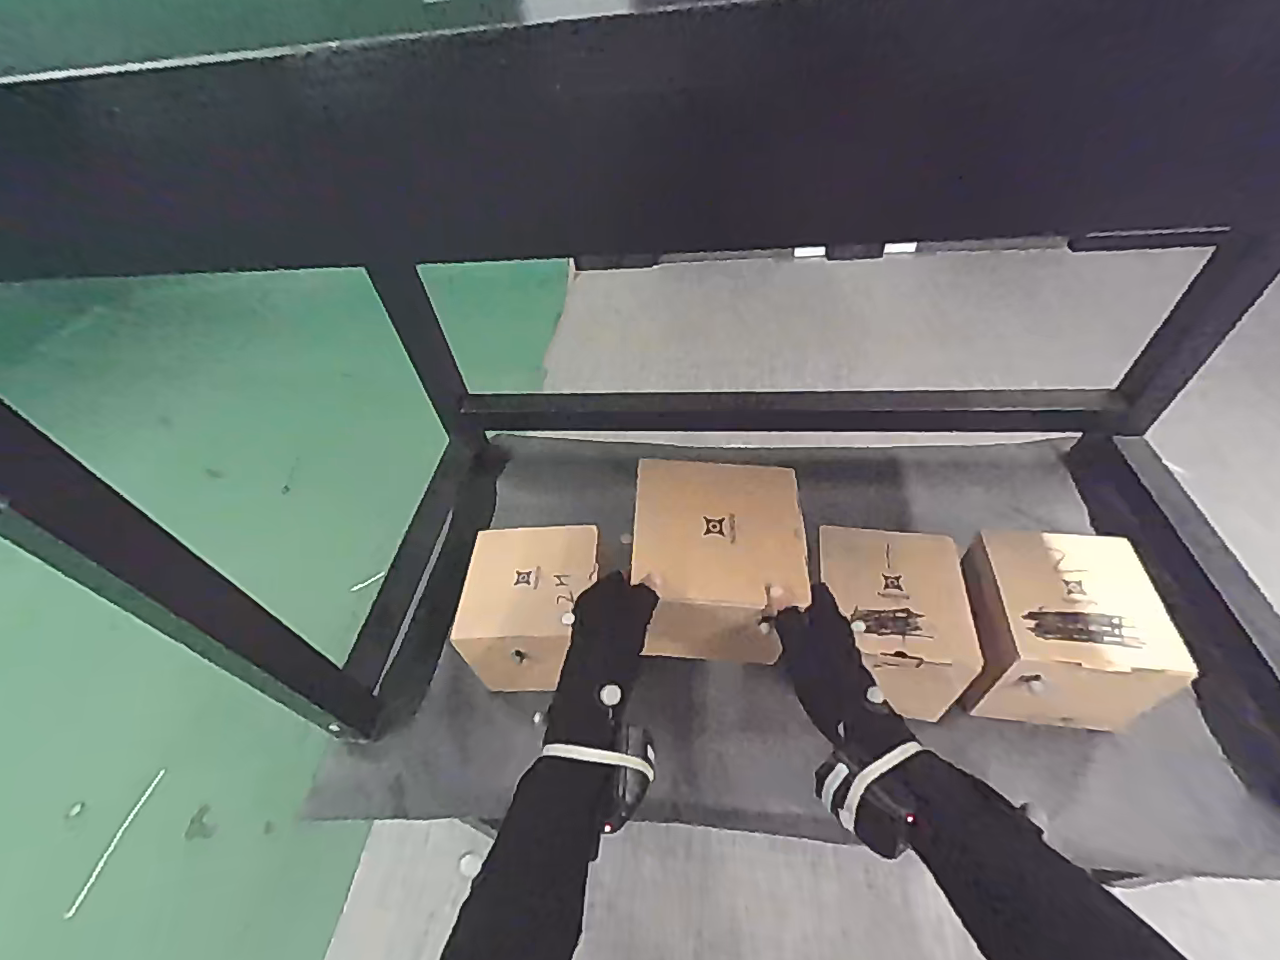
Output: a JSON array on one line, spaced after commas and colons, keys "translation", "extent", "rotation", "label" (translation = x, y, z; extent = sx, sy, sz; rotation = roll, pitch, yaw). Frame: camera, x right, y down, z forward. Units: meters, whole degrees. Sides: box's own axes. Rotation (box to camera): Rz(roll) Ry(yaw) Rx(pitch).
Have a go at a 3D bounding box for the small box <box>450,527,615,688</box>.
[{"translation": [-0.137, 0.184, 0.763], "extent": [0.179, 0.176, 0.168], "rotation": [-2, 48, 5], "label": "small box"}]
